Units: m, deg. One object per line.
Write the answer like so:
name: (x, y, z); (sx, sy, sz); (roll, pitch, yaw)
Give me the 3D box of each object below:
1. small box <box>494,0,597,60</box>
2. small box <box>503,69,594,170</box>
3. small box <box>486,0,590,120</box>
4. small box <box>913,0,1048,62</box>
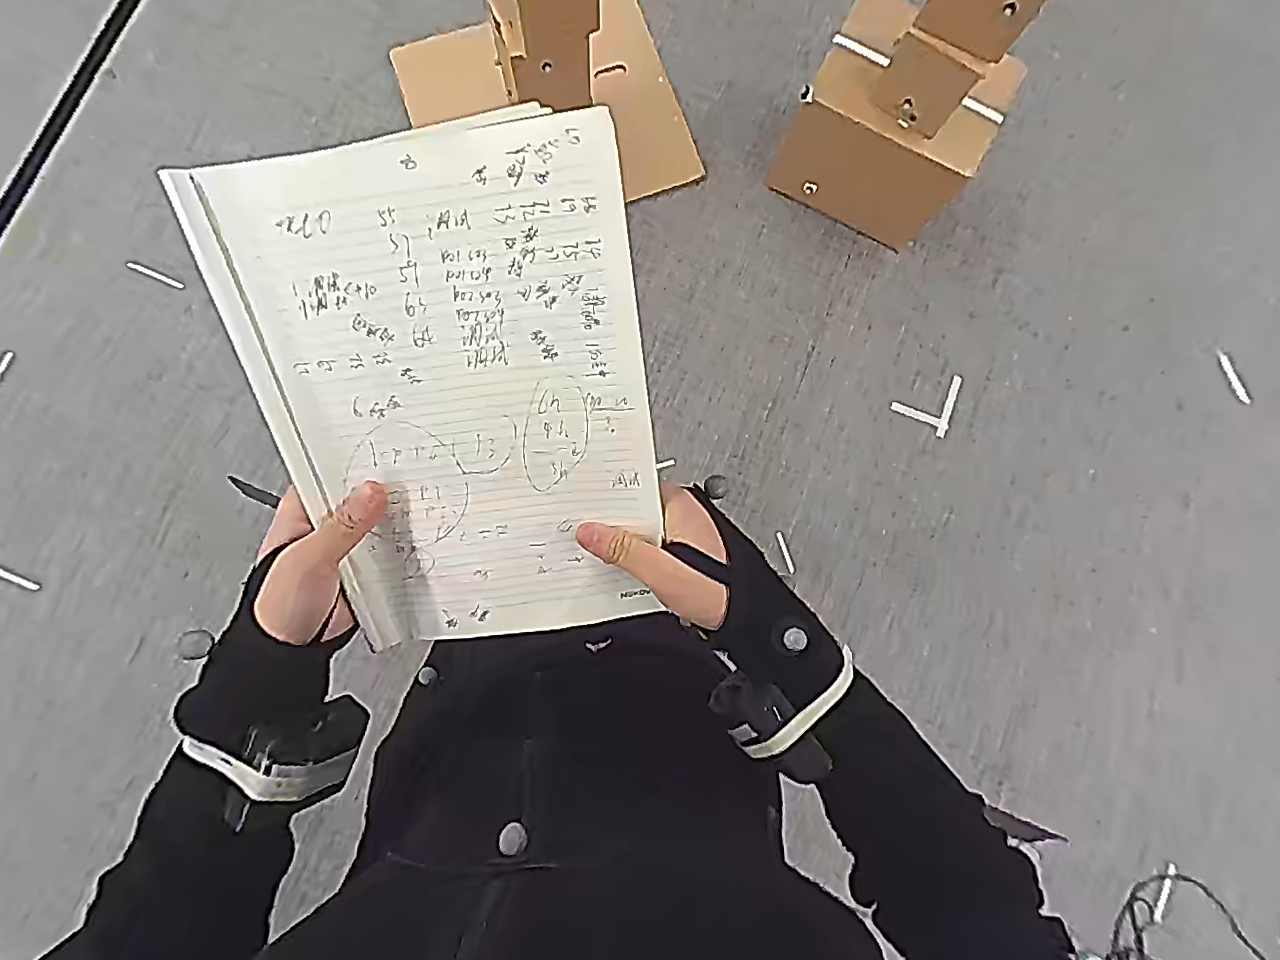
small box: (-0.191, -0.971, 1.046); (0.179, 0.176, 0.168); (-28, 86, -7)
small box: (-0.227, -0.931, 1.369); (0.179, 0.176, 0.168); (-22, 85, -6)
small box: (-0.218, -0.950, 1.206); (0.179, 0.176, 0.168); (-20, 85, -6)
small box: (0.617, -0.877, 0.929); (0.179, 0.176, 0.168); (26, 82, 2)
